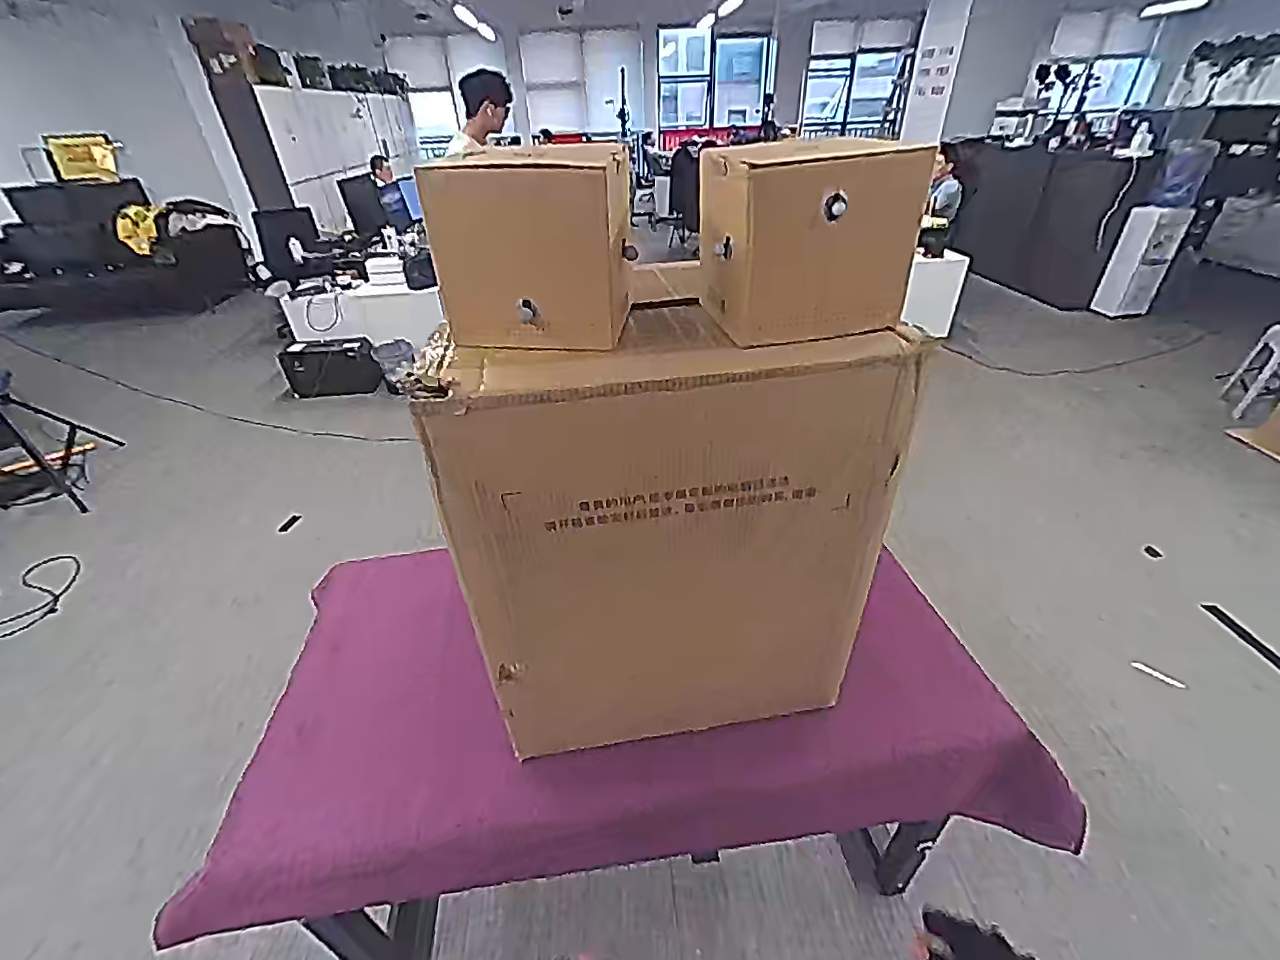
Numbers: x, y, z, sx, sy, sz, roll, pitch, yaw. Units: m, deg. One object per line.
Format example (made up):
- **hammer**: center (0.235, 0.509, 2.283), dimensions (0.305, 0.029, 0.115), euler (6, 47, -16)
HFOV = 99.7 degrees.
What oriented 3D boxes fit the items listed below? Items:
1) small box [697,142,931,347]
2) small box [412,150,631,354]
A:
- **small box**: center (0.165, -0.251, 0.575), dimensions (0.179, 0.176, 0.168), euler (-8, 36, -6)
- **small box**: center (-0.105, -0.244, 0.577), dimensions (0.179, 0.176, 0.168), euler (3, 36, 6)
